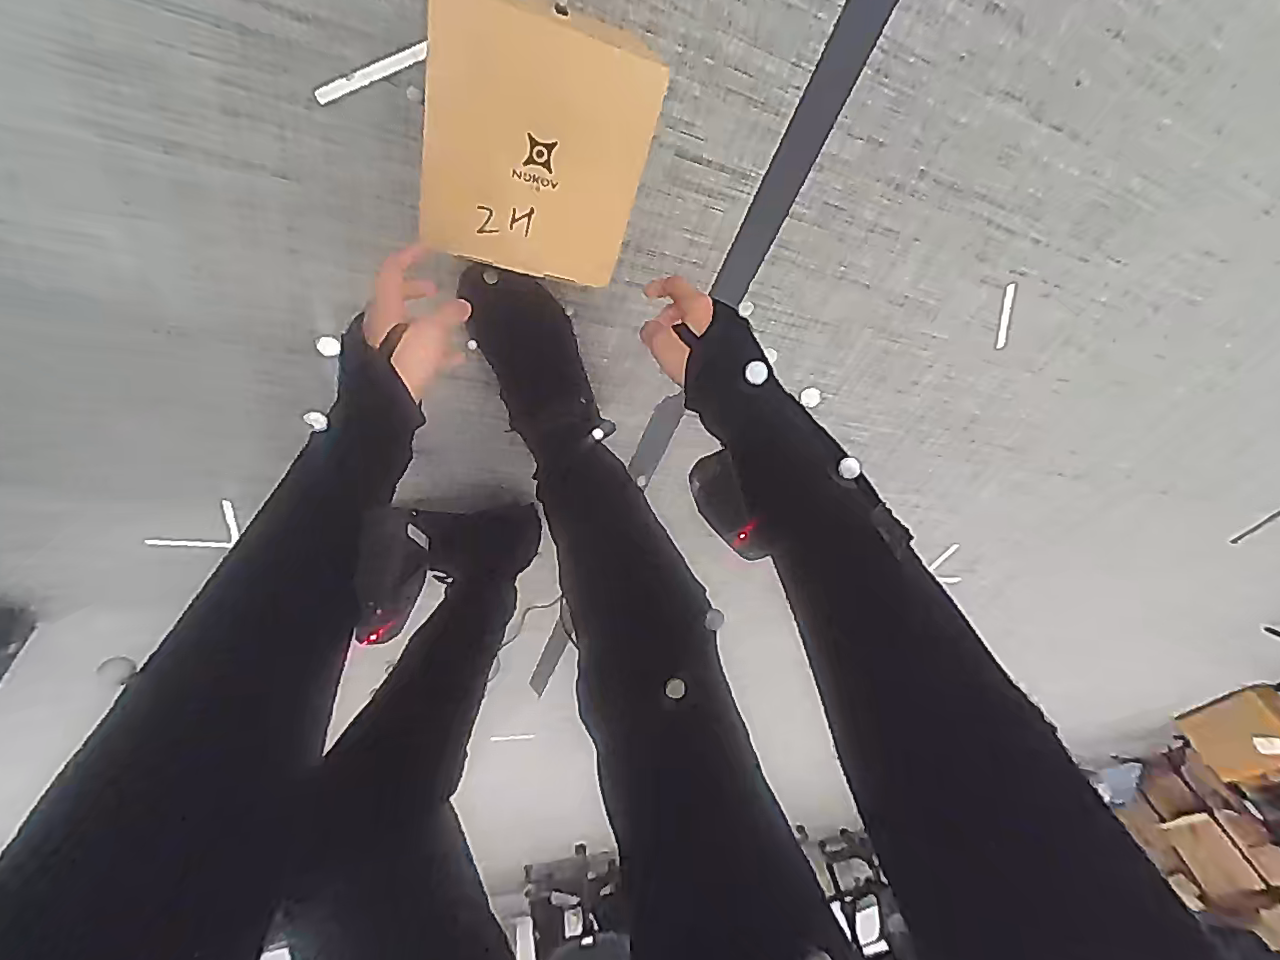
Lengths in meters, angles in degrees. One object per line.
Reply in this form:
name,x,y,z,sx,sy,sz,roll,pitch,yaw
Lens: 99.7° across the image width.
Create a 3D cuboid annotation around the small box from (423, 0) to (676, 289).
small box,-0.089,-0.301,0.469,0.168,0.176,0.179,7,134,-20
